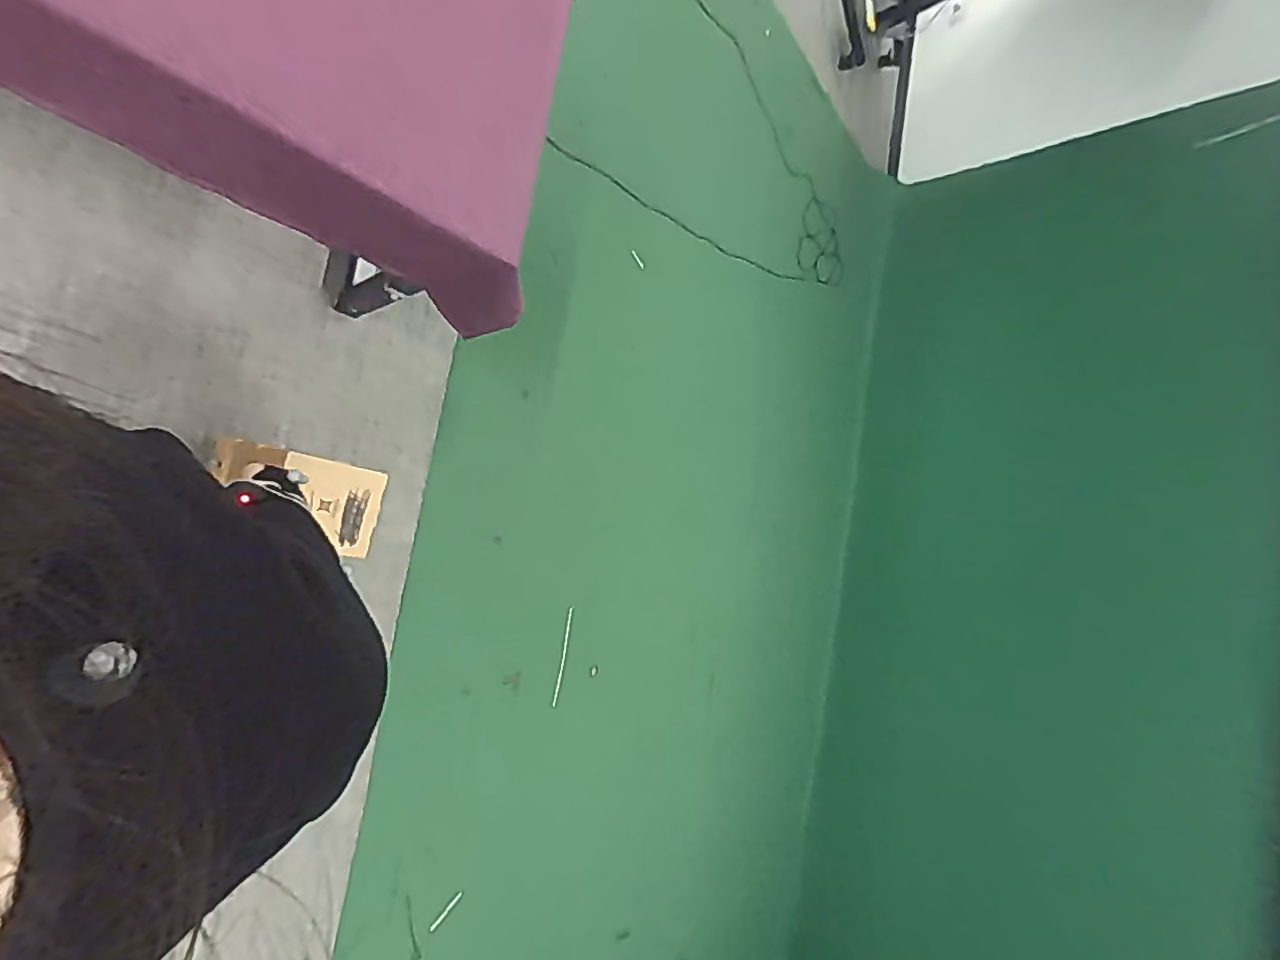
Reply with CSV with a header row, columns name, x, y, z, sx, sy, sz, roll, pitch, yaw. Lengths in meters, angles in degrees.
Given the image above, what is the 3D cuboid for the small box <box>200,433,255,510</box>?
name,x,y,z,sx,sy,sz,roll,pitch,yaw
small box,-0.867,-0.002,1.236,0.179,0.176,0.168,21,78,-47

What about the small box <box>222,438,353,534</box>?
name,x,y,z,sx,sy,sz,roll,pitch,yaw
small box,-0.742,0.012,1.133,0.179,0.176,0.168,17,82,-48
